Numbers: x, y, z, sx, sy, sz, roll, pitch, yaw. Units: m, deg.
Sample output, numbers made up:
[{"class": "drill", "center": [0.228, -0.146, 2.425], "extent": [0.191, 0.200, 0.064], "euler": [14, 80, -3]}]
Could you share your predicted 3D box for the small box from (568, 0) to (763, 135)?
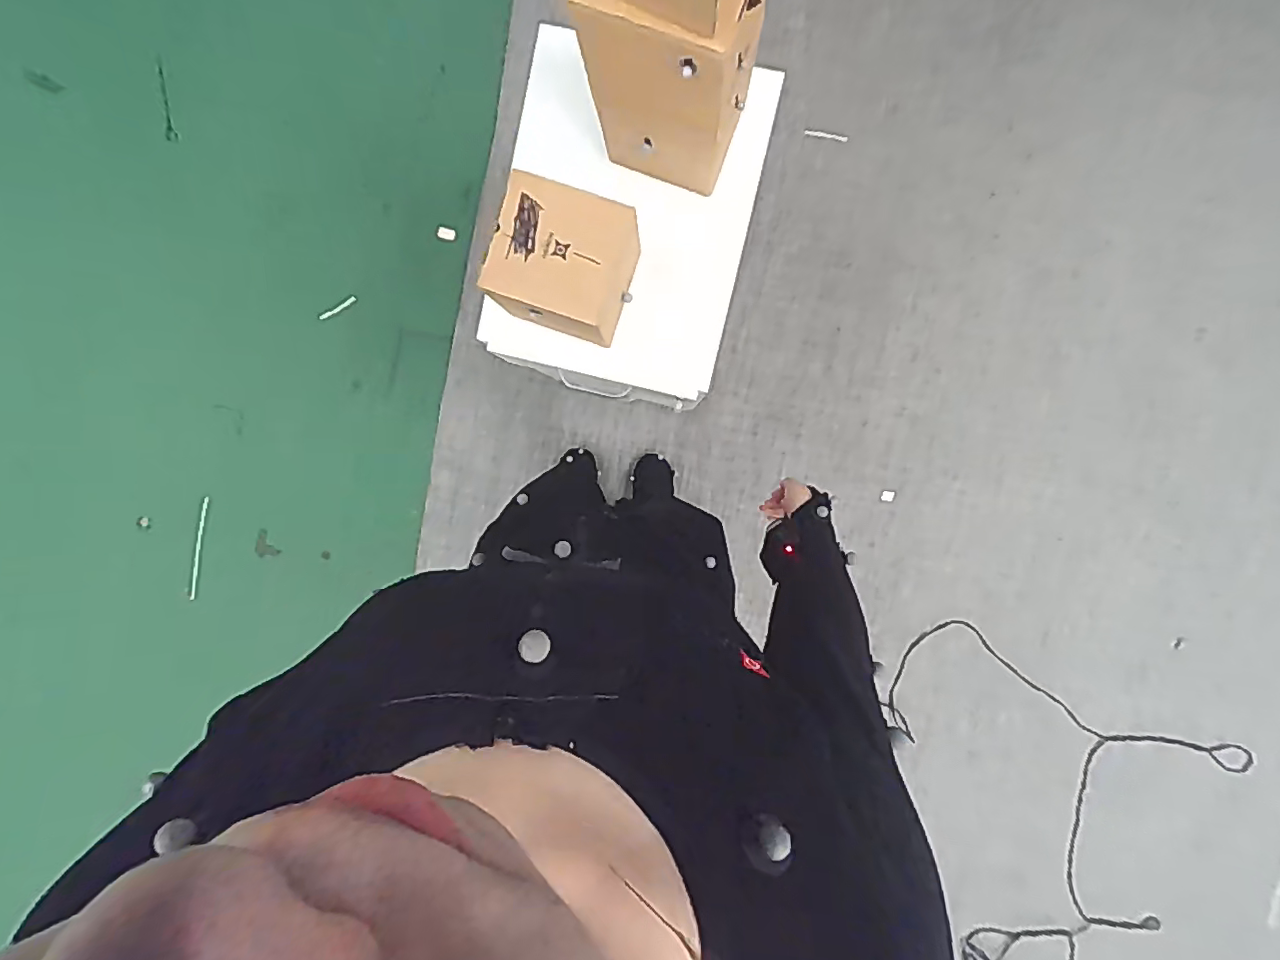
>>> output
[{"class": "small box", "center": [0.038, -0.533, 0.612], "extent": [0.179, 0.176, 0.168], "euler": [20, 96, 2]}]

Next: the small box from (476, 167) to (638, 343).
[{"class": "small box", "center": [-0.111, -0.316, 0.798], "extent": [0.179, 0.176, 0.168], "euler": [19, 95, 0]}]

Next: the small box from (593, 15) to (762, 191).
[{"class": "small box", "center": [0.051, -0.548, 0.773], "extent": [0.179, 0.176, 0.168], "euler": [21, 95, 2]}]
